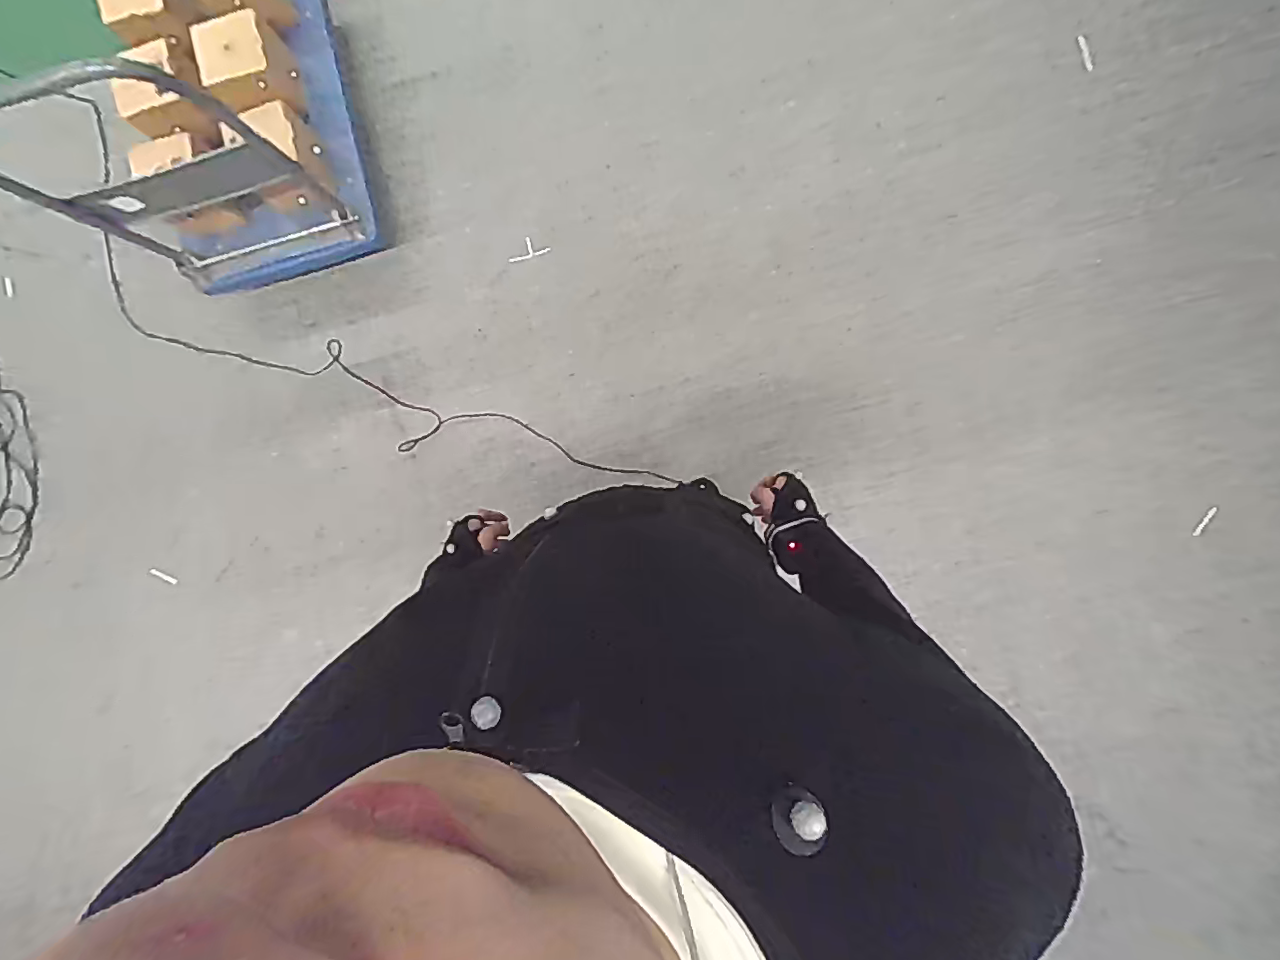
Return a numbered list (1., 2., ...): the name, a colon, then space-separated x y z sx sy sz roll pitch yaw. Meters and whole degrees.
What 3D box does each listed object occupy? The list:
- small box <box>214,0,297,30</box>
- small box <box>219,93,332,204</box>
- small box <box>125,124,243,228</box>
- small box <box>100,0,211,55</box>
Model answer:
1. small box: -1.066 -1.358 1.443 0.179 0.176 0.168 -14 92 2
2. small box: -0.957 -0.873 1.440 0.179 0.176 0.168 -16 89 3
3. small box: -1.212 -0.809 1.454 0.179 0.176 0.168 -12 89 4
4. small box: -1.310 -1.296 1.461 0.168 0.176 0.179 -11 90 2
